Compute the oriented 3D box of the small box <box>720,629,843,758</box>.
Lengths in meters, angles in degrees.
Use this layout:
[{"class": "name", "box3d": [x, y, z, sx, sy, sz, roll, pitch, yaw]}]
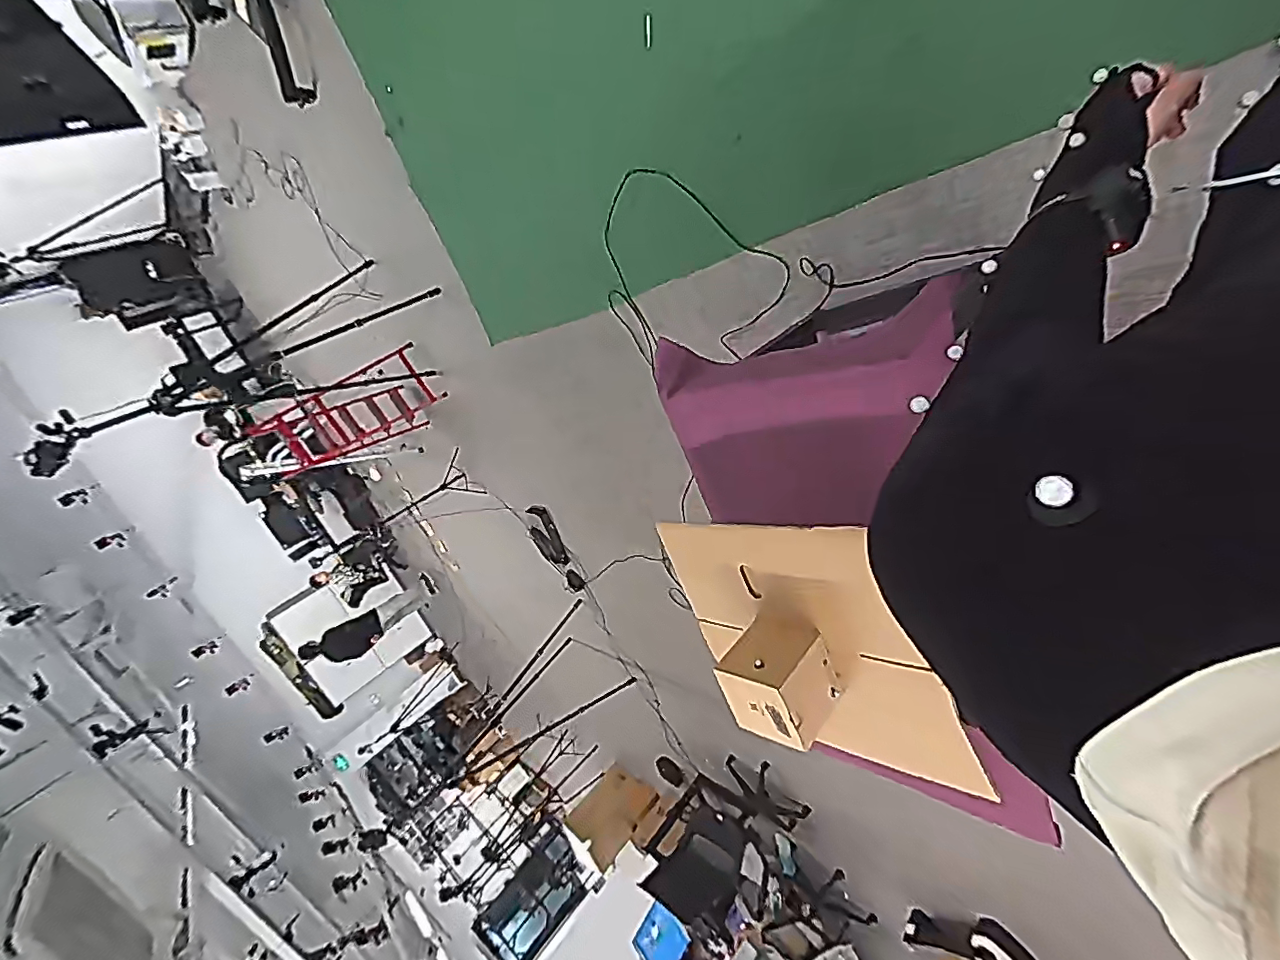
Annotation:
[{"class": "small box", "box3d": [0.307, 0.438, 1.144, 0.179, 0.176, 0.168, -5, 115, 52]}]
